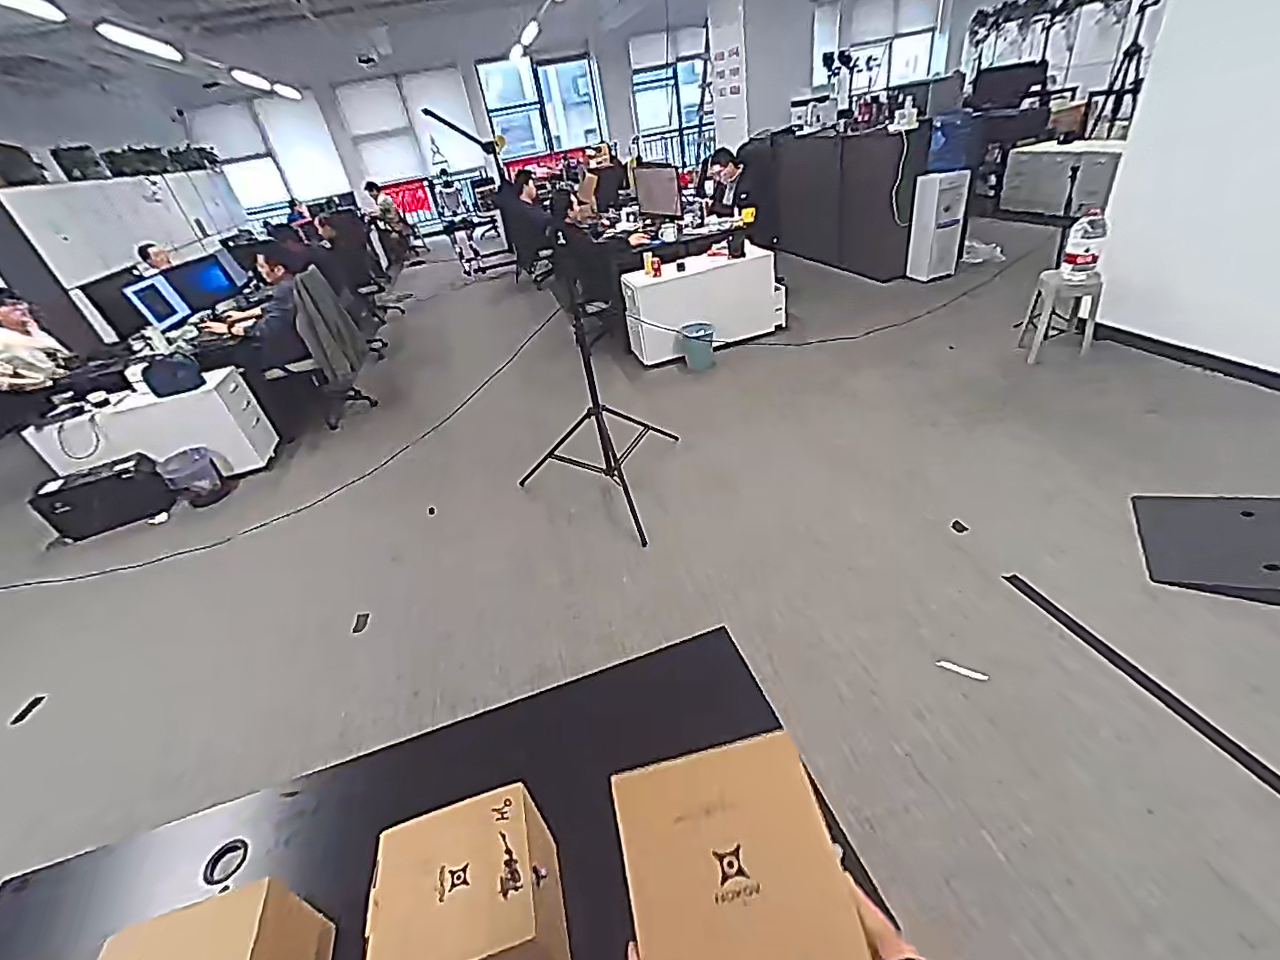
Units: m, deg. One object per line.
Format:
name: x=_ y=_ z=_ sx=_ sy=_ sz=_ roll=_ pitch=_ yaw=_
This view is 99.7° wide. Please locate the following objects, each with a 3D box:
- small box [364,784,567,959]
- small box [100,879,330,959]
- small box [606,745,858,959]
small box: x=-0.199 y=0.511 z=0.644 sx=0.179 sy=0.176 sz=0.168 roll=-17 pitch=34 yaw=-8
small box: x=-0.475 y=0.594 z=0.596 sx=0.179 sy=0.176 sz=0.168 roll=-17 pitch=34 yaw=-10
small box: x=0.074 y=0.373 z=0.489 sx=0.168 sy=0.176 sz=0.179 roll=-13 pitch=46 yaw=-5
